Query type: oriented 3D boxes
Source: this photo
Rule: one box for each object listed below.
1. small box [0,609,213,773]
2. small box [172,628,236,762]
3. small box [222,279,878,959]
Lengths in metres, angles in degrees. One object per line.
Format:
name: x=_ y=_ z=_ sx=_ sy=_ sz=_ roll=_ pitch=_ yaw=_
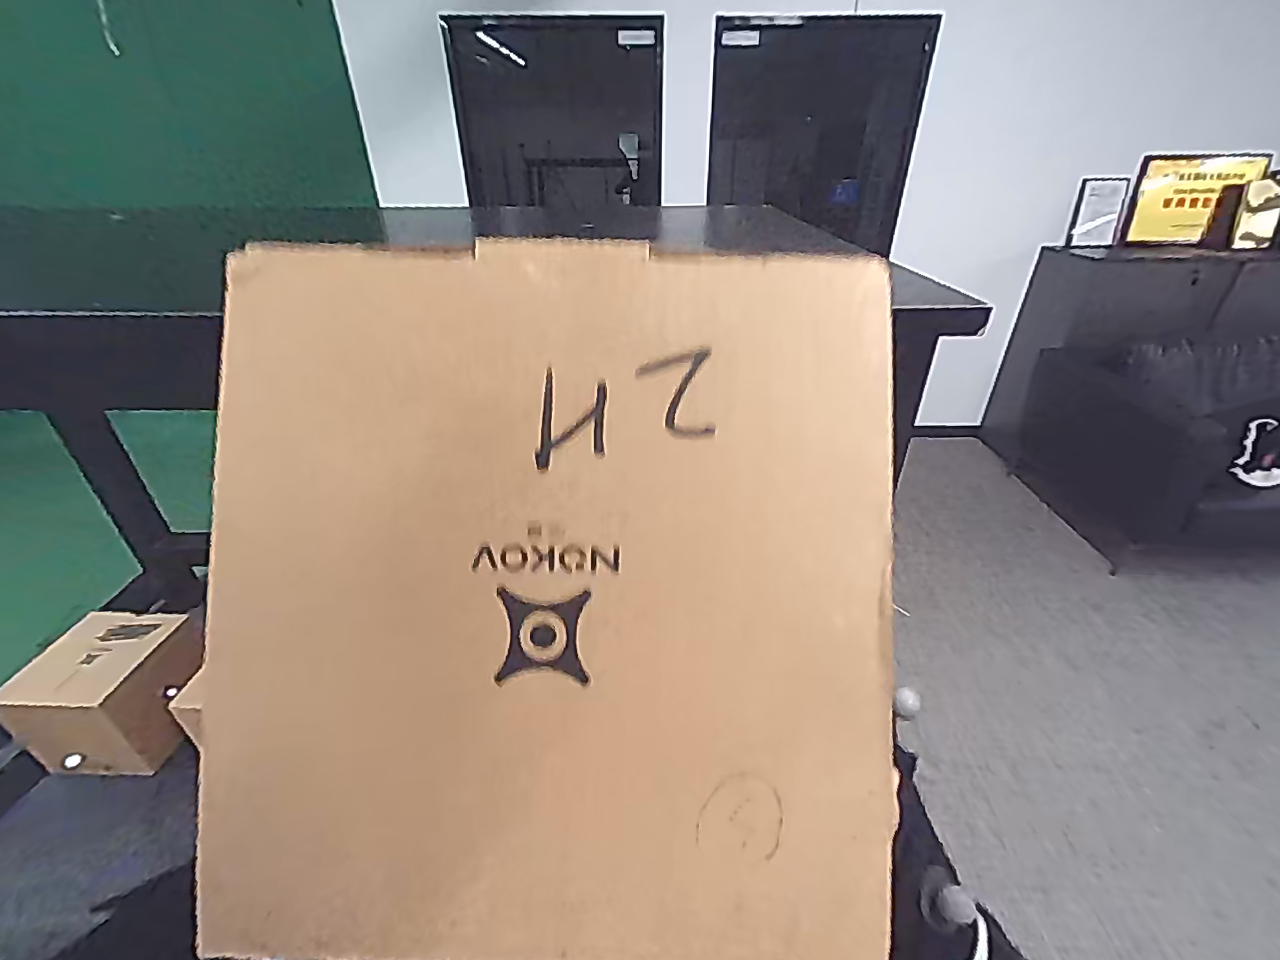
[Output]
small box: x=-0.813 y=0.328 z=0.853 sx=0.168 sy=0.176 sz=0.179 roll=1 pitch=32 yaw=1
small box: x=-0.560 y=0.332 z=0.852 sx=0.168 sy=0.176 sz=0.179 roll=1 pitch=31 yaw=1
small box: x=-0.021 y=0.038 z=0.220 sx=0.168 sy=0.179 sz=0.176 roll=2 pitch=-3 yaw=0
